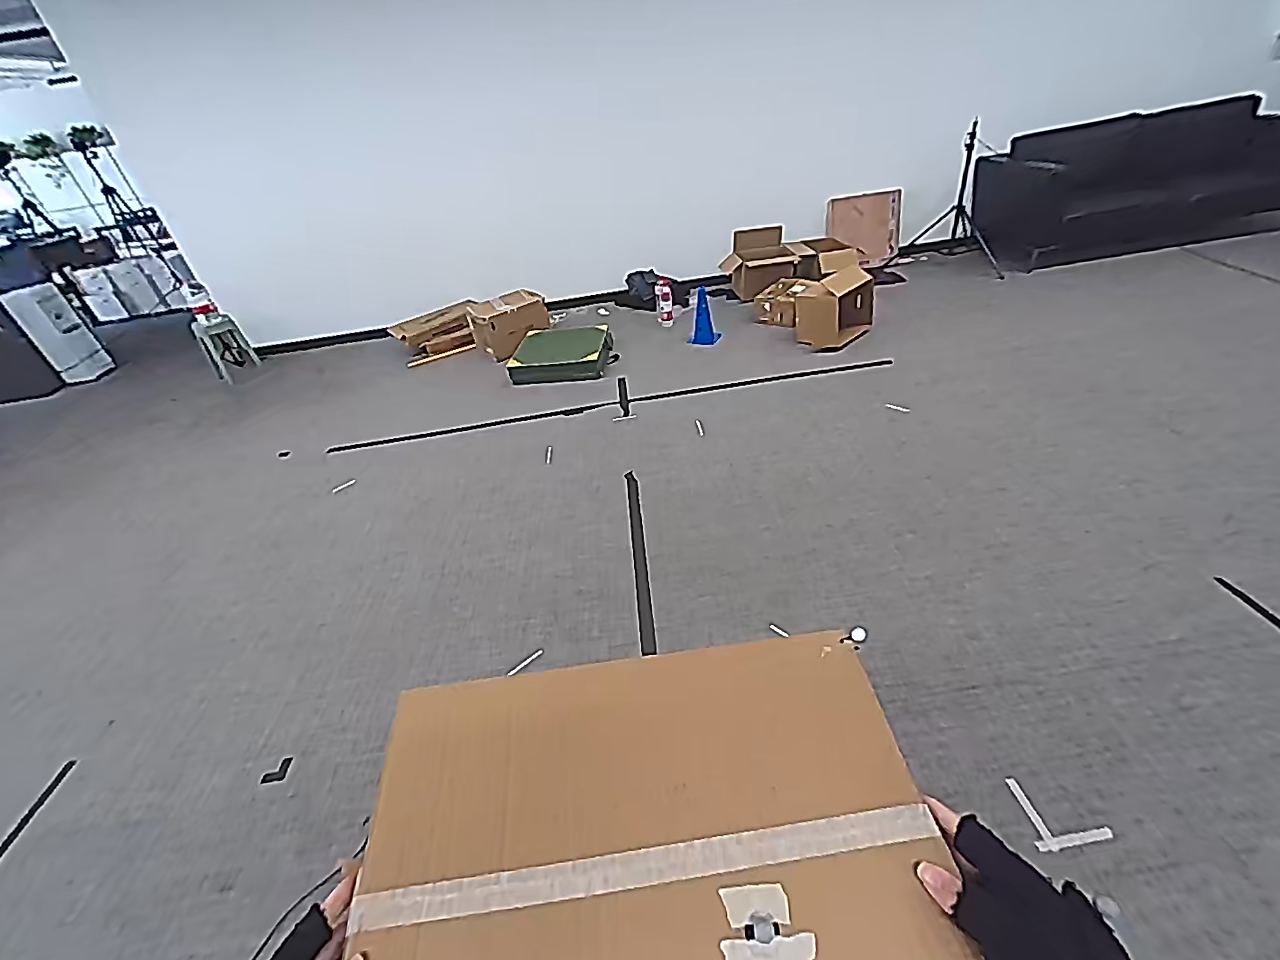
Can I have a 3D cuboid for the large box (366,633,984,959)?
[{"bbox_3d":[0.018,0.381,0.491,0.408,0.320,0.320,-7,44,-3],"label":"large box"}]
